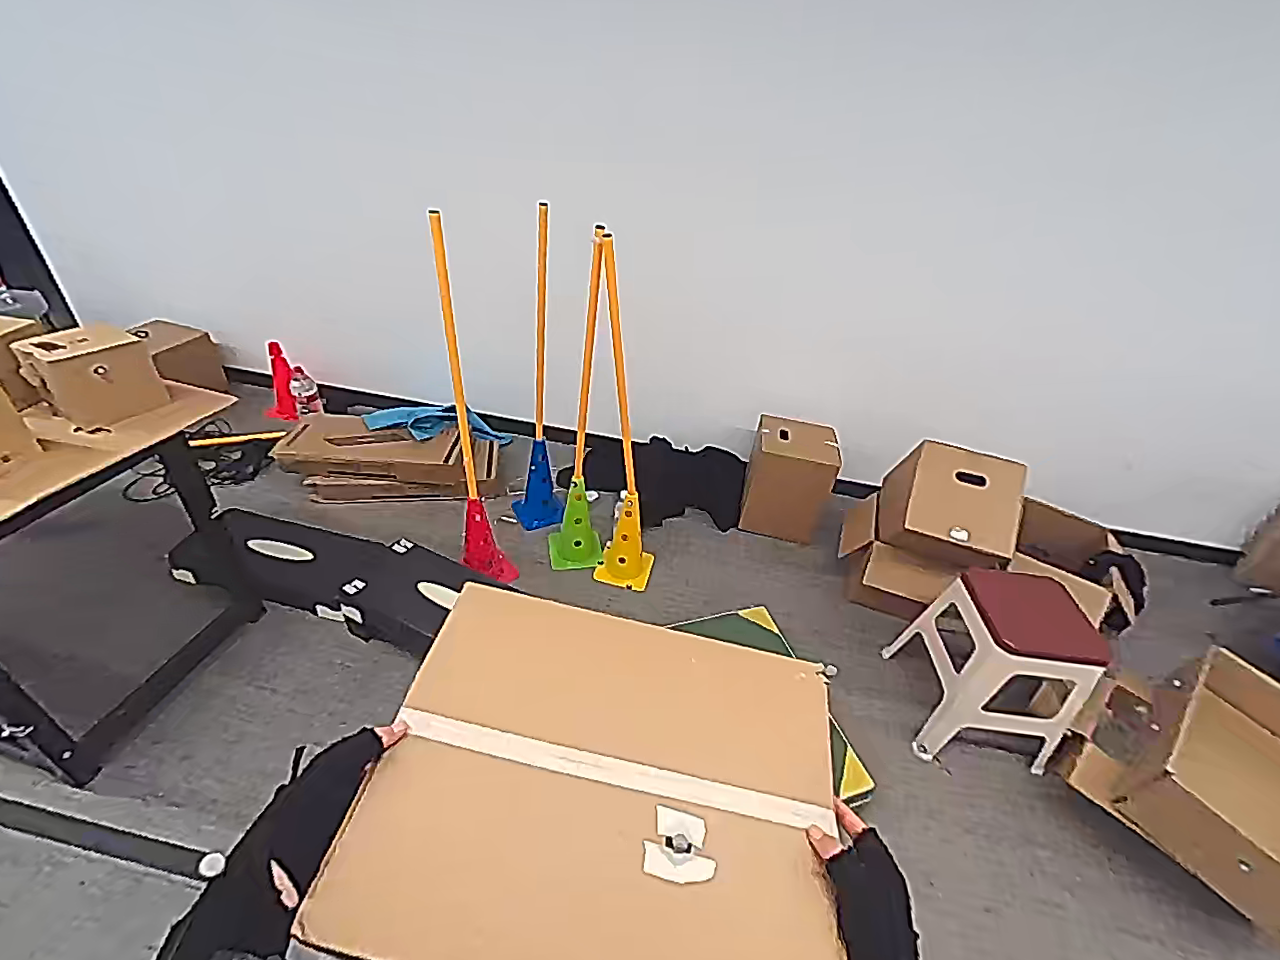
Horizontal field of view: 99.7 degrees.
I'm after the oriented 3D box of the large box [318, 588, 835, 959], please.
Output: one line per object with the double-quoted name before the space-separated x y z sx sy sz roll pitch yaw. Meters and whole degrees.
"large box" -0.045 0.371 0.604 0.408 0.320 0.320 13 44 2
